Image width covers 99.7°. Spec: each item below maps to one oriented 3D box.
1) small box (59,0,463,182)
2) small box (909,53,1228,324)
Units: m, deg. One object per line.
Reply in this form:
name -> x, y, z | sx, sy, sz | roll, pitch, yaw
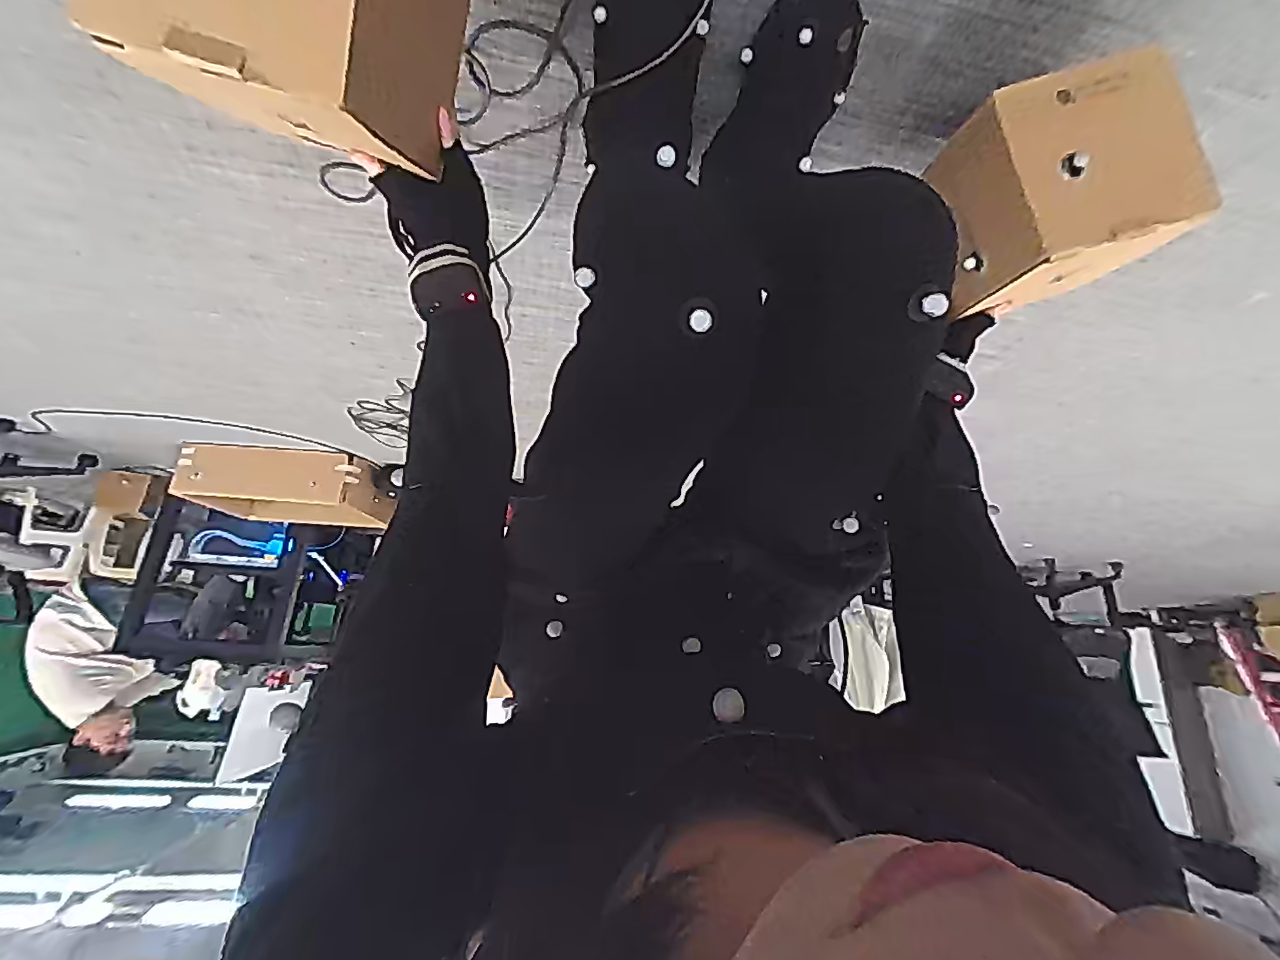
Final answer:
small box -> -0.239, -0.347, 0.381 | 0.168, 0.176, 0.179 | 15, -167, -4
small box -> 0.411, -0.291, 0.557 | 0.168, 0.176, 0.179 | -16, 176, -1
